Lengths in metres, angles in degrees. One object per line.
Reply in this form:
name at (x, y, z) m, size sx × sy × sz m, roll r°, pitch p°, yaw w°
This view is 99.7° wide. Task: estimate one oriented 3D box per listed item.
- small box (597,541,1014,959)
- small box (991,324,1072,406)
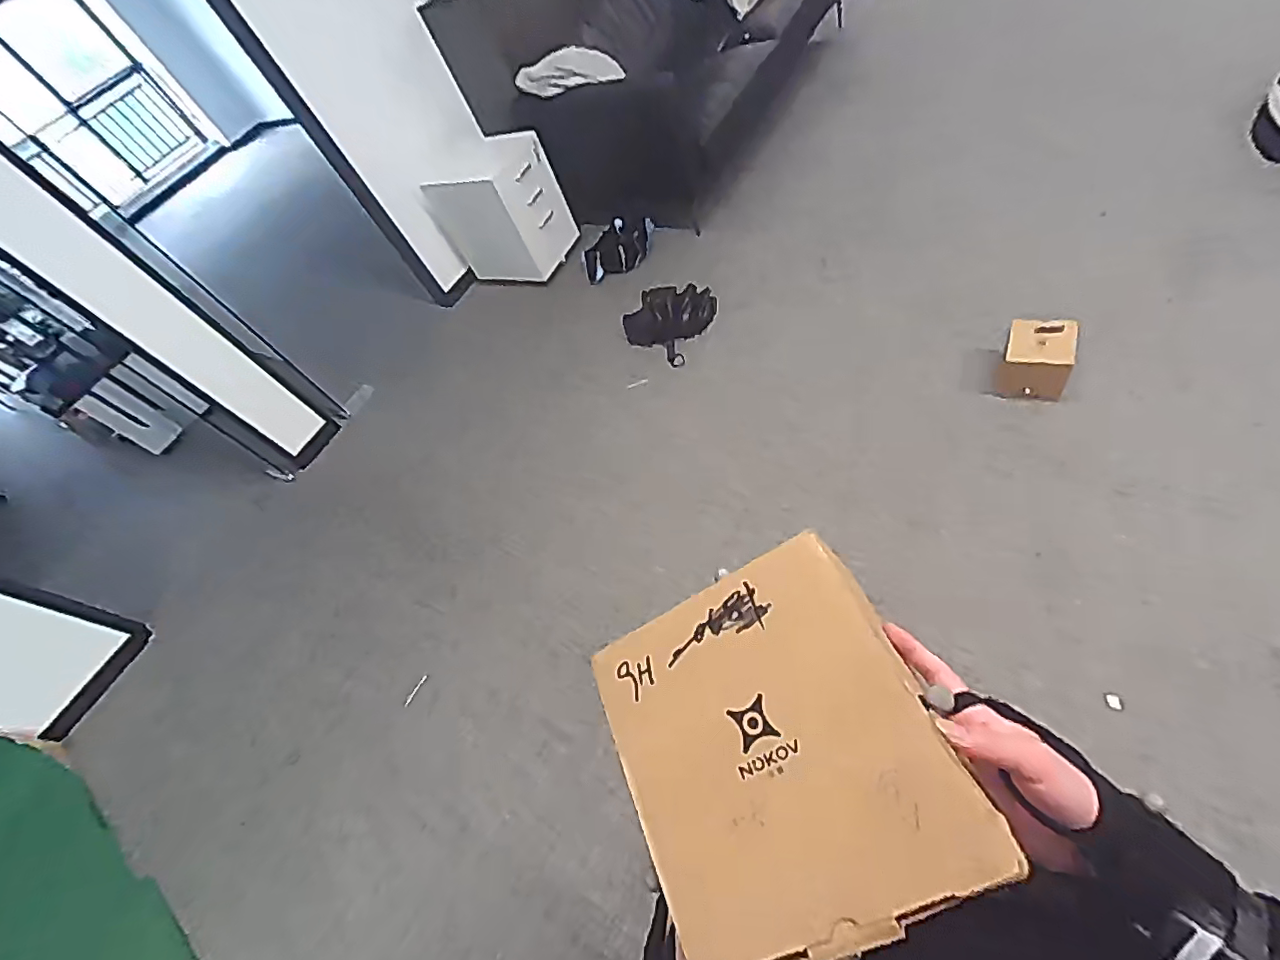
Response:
small box at (0.104, 0.168, 0.358) m, size 0.168 × 0.176 × 0.179 m, roll -34°, pitch 57°, yaw 14°
small box at (1.200, -0.356, 1.664) m, size 0.168 × 0.176 × 0.179 m, roll 11°, pitch 62°, yaw 29°
